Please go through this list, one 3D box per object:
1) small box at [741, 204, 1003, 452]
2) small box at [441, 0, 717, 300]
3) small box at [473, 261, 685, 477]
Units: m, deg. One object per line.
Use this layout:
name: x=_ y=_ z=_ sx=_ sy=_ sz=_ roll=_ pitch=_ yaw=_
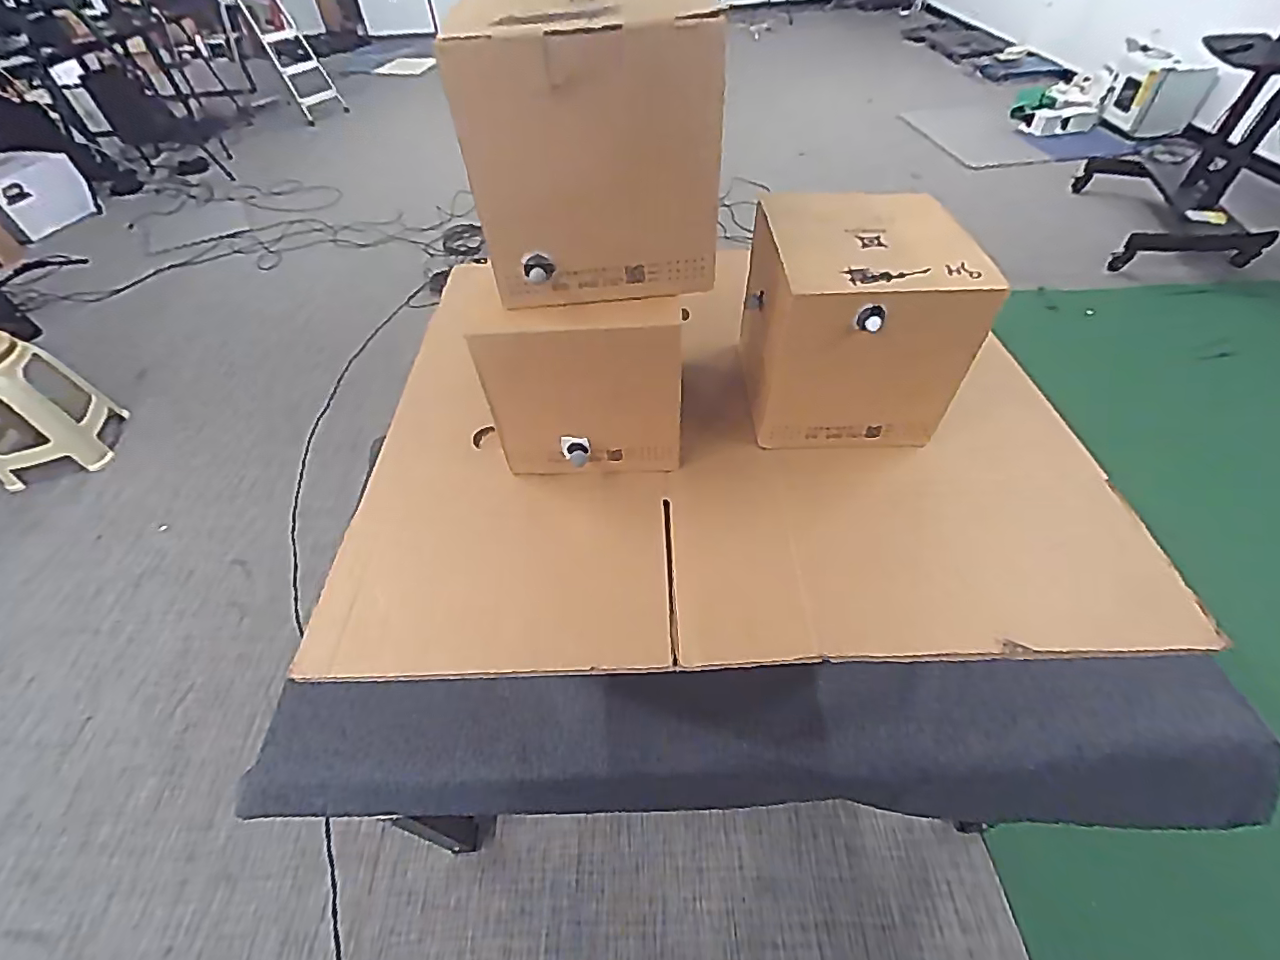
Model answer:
small box: x=0.195 y=-0.147 z=0.524 sx=0.168 sy=0.176 sz=0.179 roll=-1 pitch=48 yaw=1
small box: x=-0.034 y=-0.255 z=0.422 sx=0.168 sy=0.176 sz=0.179 roll=-5 pitch=48 yaw=0
small box: x=-0.045 y=-0.123 z=0.526 sx=0.168 sy=0.176 sz=0.179 roll=-3 pitch=51 yaw=2
